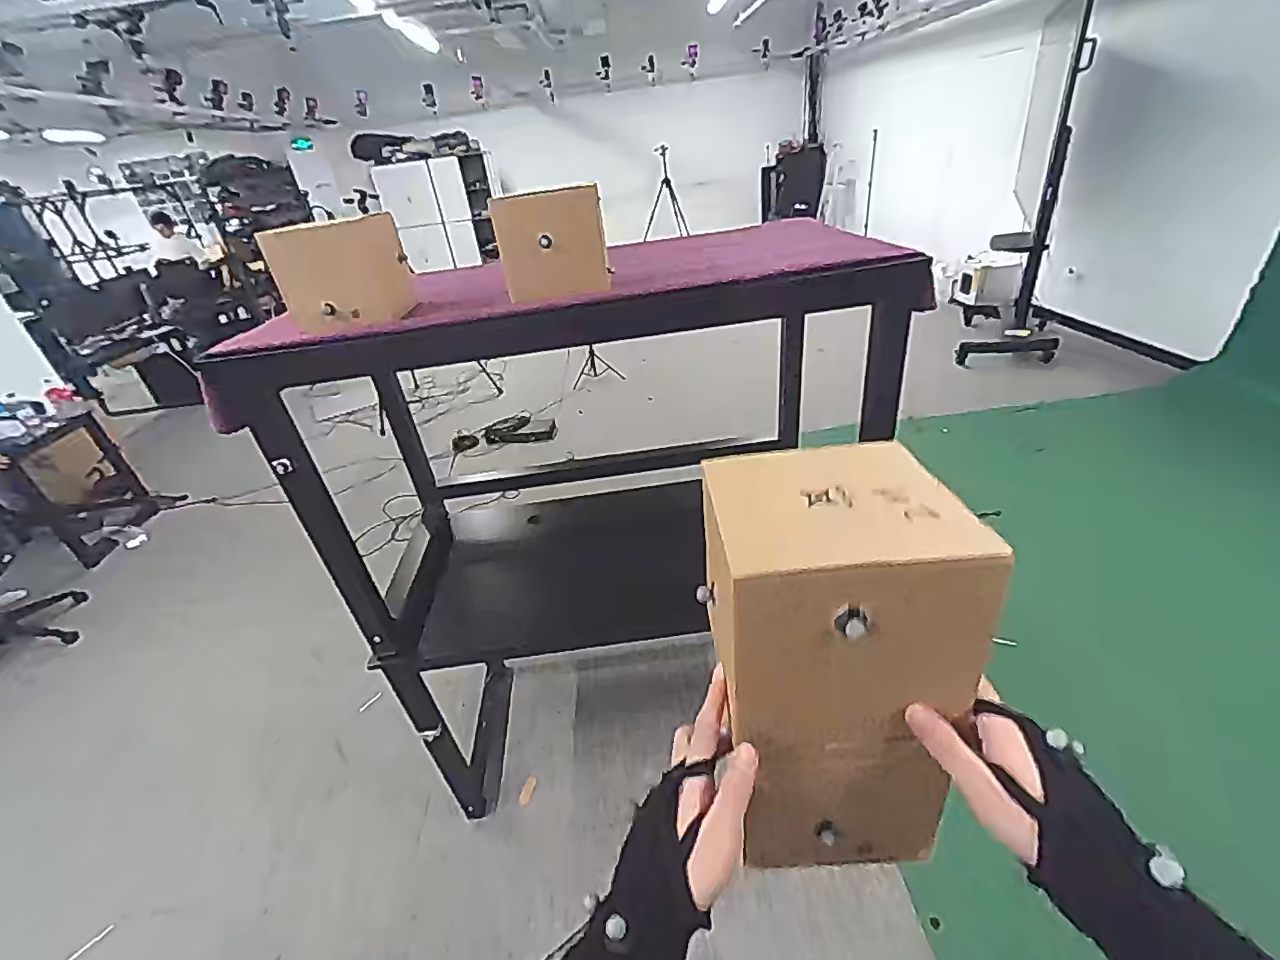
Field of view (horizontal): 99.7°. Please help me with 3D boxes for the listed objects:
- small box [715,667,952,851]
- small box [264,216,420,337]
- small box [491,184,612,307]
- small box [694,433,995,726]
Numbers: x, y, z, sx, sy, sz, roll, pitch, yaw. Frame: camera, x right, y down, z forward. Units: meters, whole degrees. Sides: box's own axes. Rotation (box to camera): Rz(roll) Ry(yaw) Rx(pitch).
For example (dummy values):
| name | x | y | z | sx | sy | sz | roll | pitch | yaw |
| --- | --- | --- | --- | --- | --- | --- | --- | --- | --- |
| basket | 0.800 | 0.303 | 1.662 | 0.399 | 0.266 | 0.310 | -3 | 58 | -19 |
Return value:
| name | x | y | z | sx | sy | sz | roll | pitch | yaw |
| --- | --- | --- | --- | --- | --- | --- | --- | --- | --- |
| small box | 0.162 | 0.219 | 0.522 | 0.168 | 0.176 | 0.179 | -4 | 29 | 3 |
| small box | -0.510 | -0.363 | 0.961 | 0.168 | 0.176 | 0.179 | -9 | 31 | -1 |
| small box | -0.146 | -0.422 | 0.971 | 0.179 | 0.176 | 0.168 | -8 | 30 | 2 |
| small box | 0.142 | 0.077 | 0.440 | 0.179 | 0.176 | 0.168 | -5 | 29 | 2 |
